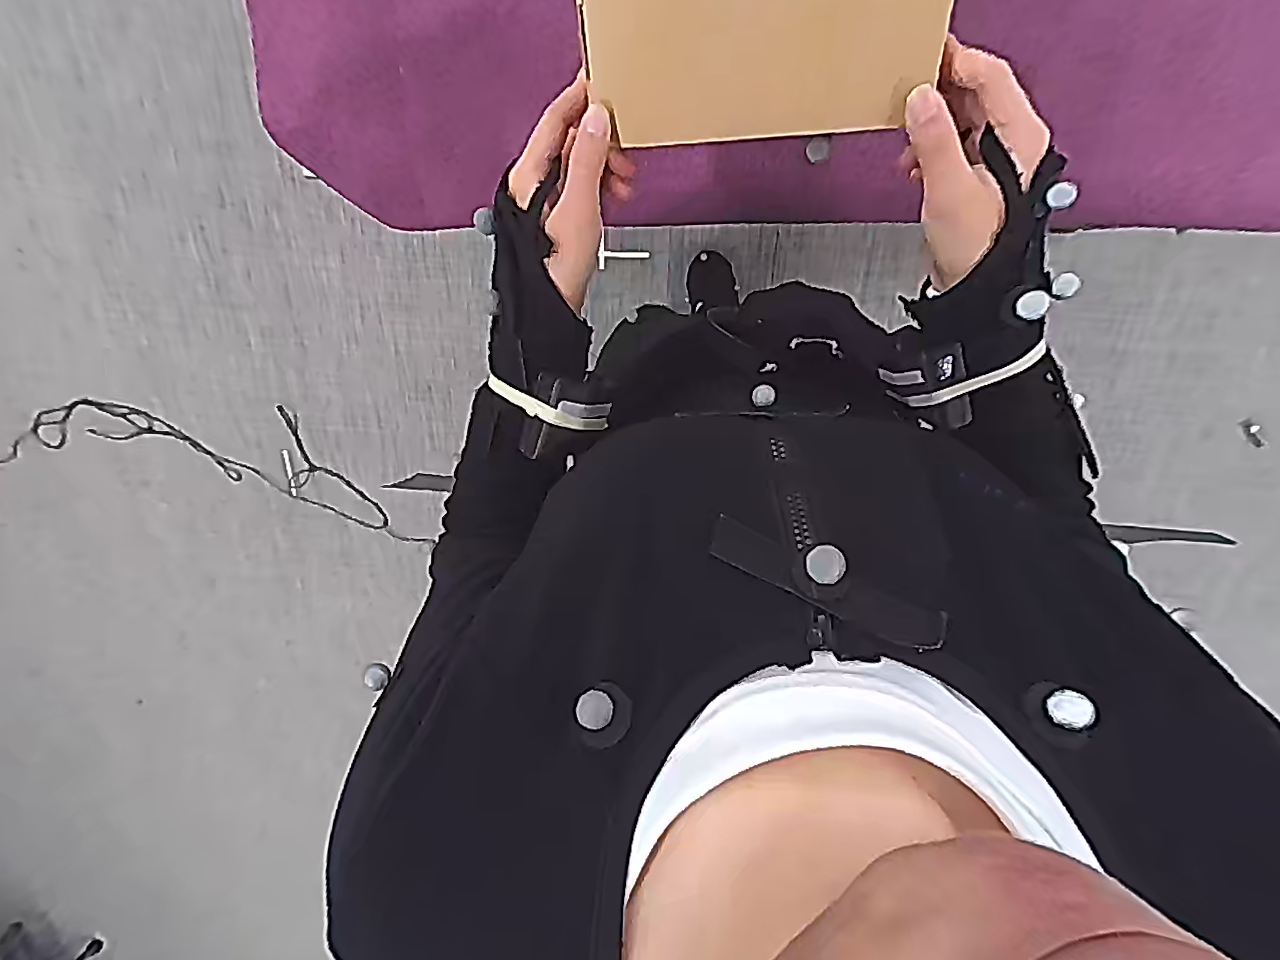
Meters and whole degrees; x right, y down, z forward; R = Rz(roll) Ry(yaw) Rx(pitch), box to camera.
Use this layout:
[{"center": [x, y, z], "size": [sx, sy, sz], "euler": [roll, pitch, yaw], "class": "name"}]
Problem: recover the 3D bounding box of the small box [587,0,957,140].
[{"center": [0.066, -0.298, 0.302], "size": [0.179, 0.176, 0.168], "euler": [1, 126, 7], "class": "small box"}]
